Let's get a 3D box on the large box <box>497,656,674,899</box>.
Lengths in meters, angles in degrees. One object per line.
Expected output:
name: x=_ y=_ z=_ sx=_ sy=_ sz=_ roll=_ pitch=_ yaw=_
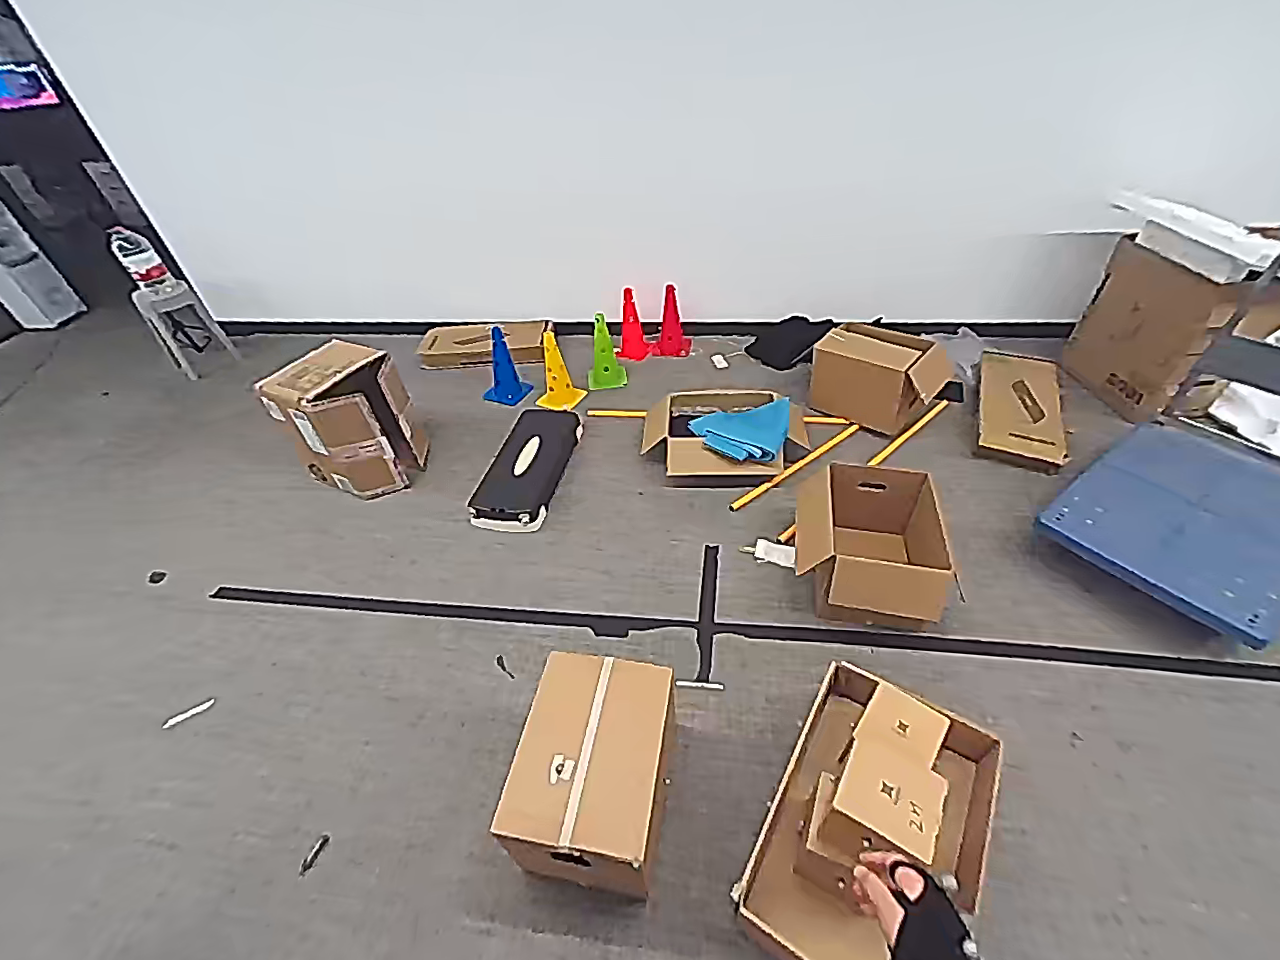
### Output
large box: x=-0.091 y=0.686 z=1.273 sx=0.320 sy=0.320 sz=0.408 roll=3 pitch=44 yaw=10

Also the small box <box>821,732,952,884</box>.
small box: x=0.473 y=0.642 z=1.055 sx=0.179 sy=0.176 sz=0.168 roll=23 pitch=47 yaw=26
